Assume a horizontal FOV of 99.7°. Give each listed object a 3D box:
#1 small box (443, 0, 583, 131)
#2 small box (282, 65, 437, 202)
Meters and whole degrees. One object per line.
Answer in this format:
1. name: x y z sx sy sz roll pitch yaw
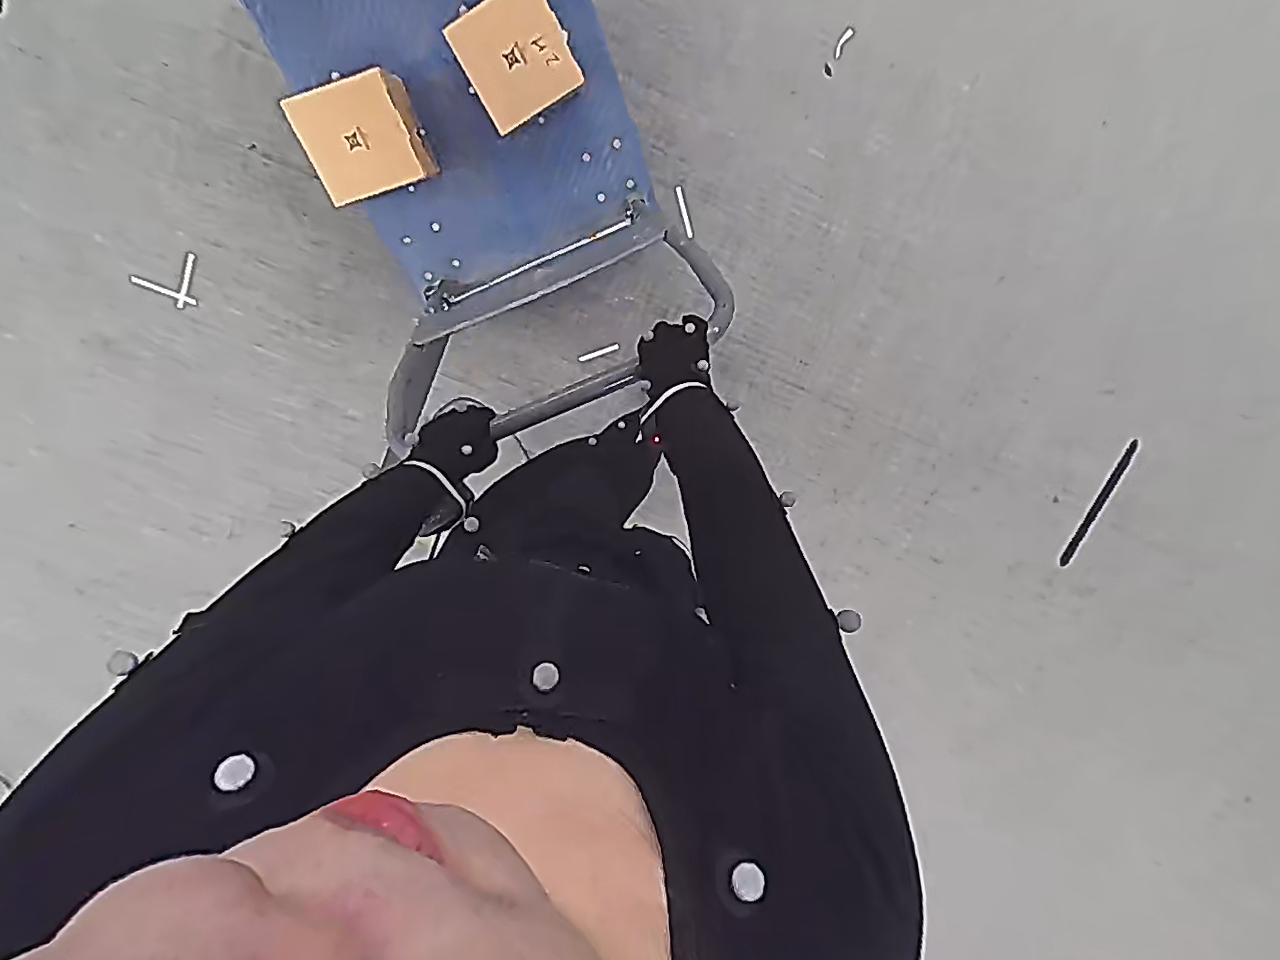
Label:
1. small box: -0.216 -0.749 0.962 0.179 0.176 0.168 -27 123 8
2. small box: -0.498 -0.627 0.992 0.179 0.176 0.168 -19 123 0
